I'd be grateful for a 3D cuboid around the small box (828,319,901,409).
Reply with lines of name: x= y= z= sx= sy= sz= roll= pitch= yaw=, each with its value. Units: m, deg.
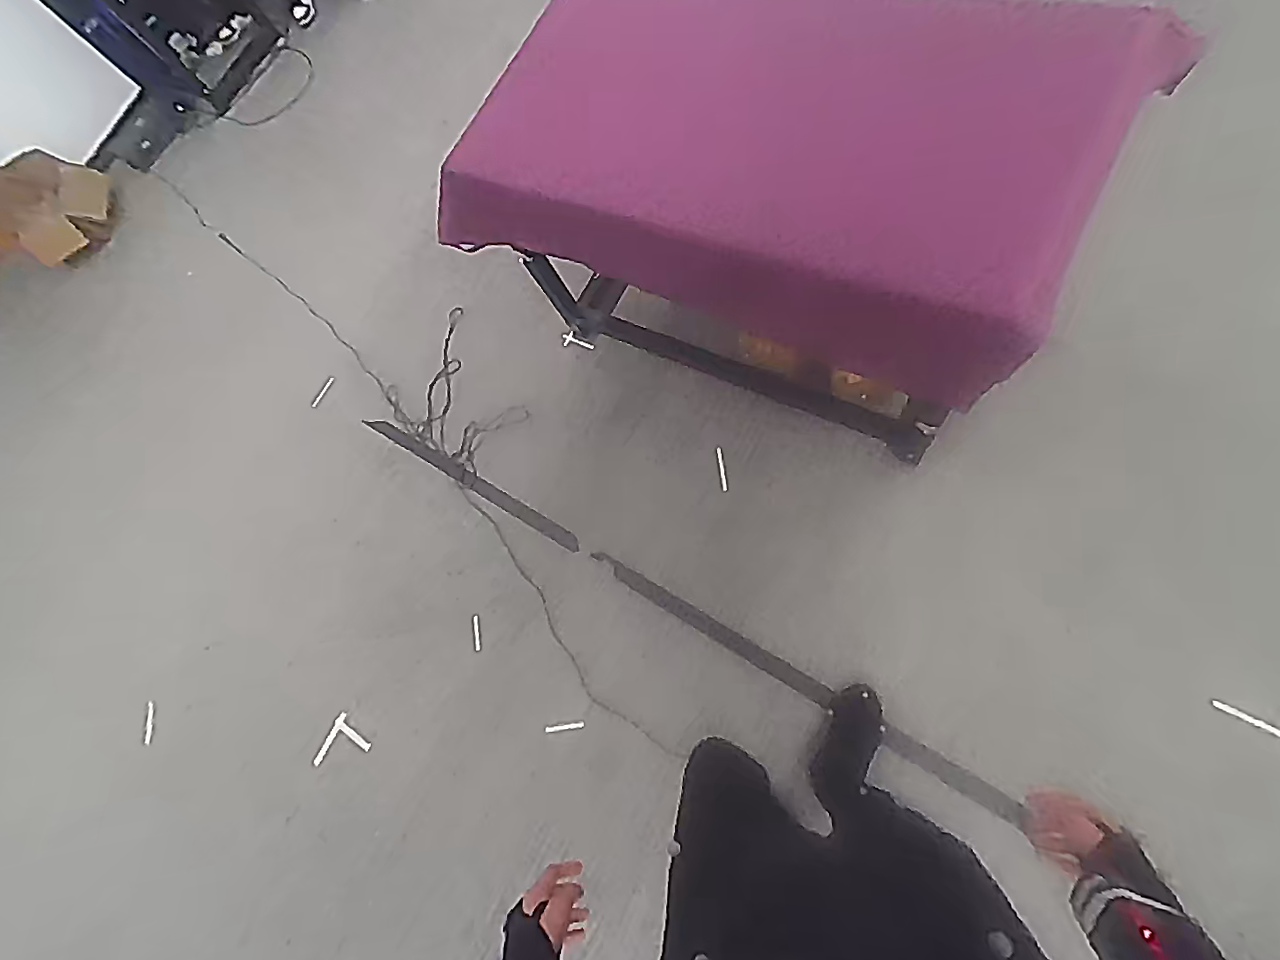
small box: x=0.614 y=-0.315 z=1.497 sx=0.168 sy=0.176 sz=0.179 roll=-4 pitch=71 yaw=17
